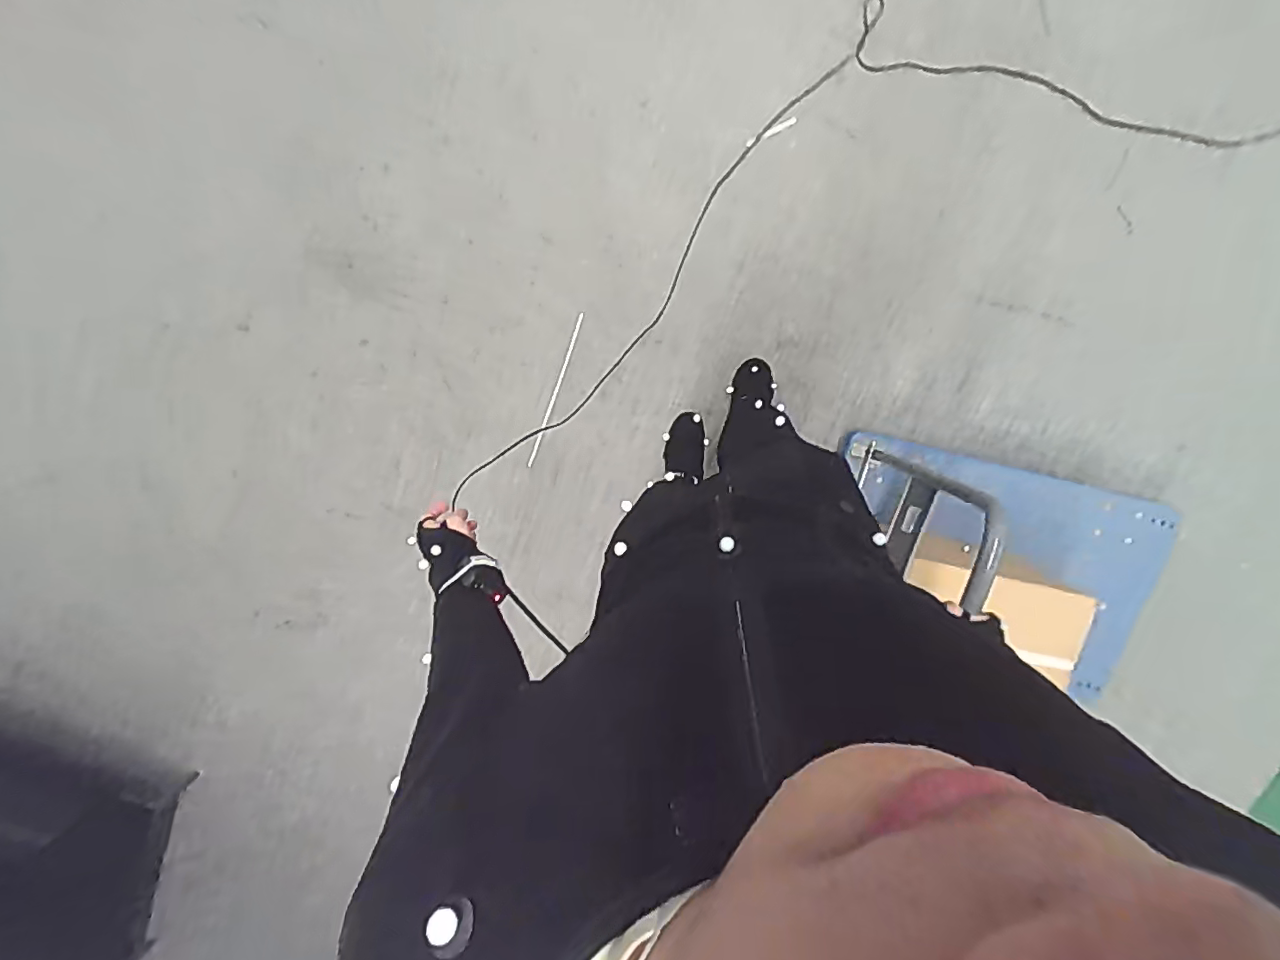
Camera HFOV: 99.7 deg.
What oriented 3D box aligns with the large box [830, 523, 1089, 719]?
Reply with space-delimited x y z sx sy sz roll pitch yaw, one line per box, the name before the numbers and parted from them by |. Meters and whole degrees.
large box | 0.732 0.319 1.315 0.408 0.320 0.320 13 102 1
